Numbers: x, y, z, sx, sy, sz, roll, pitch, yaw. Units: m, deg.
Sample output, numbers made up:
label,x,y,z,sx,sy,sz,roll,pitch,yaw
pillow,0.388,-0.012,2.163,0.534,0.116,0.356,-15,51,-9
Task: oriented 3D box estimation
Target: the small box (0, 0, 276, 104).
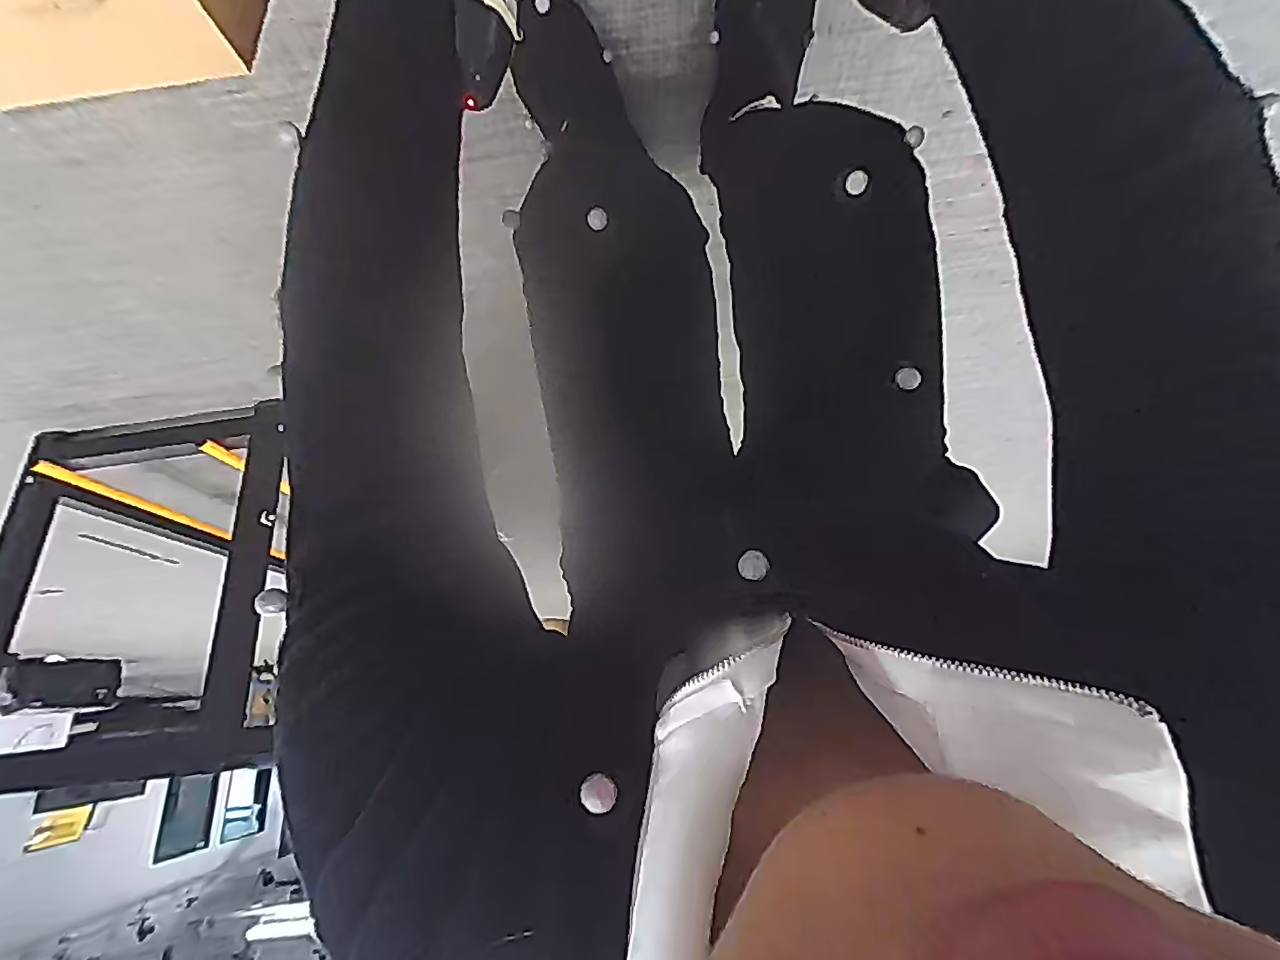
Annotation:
label,x,y,z,sx,sy,sz,roll,pitch,yaw
small box,-0.325,-0.348,0.283,0.168,0.176,0.179,-6,160,2
